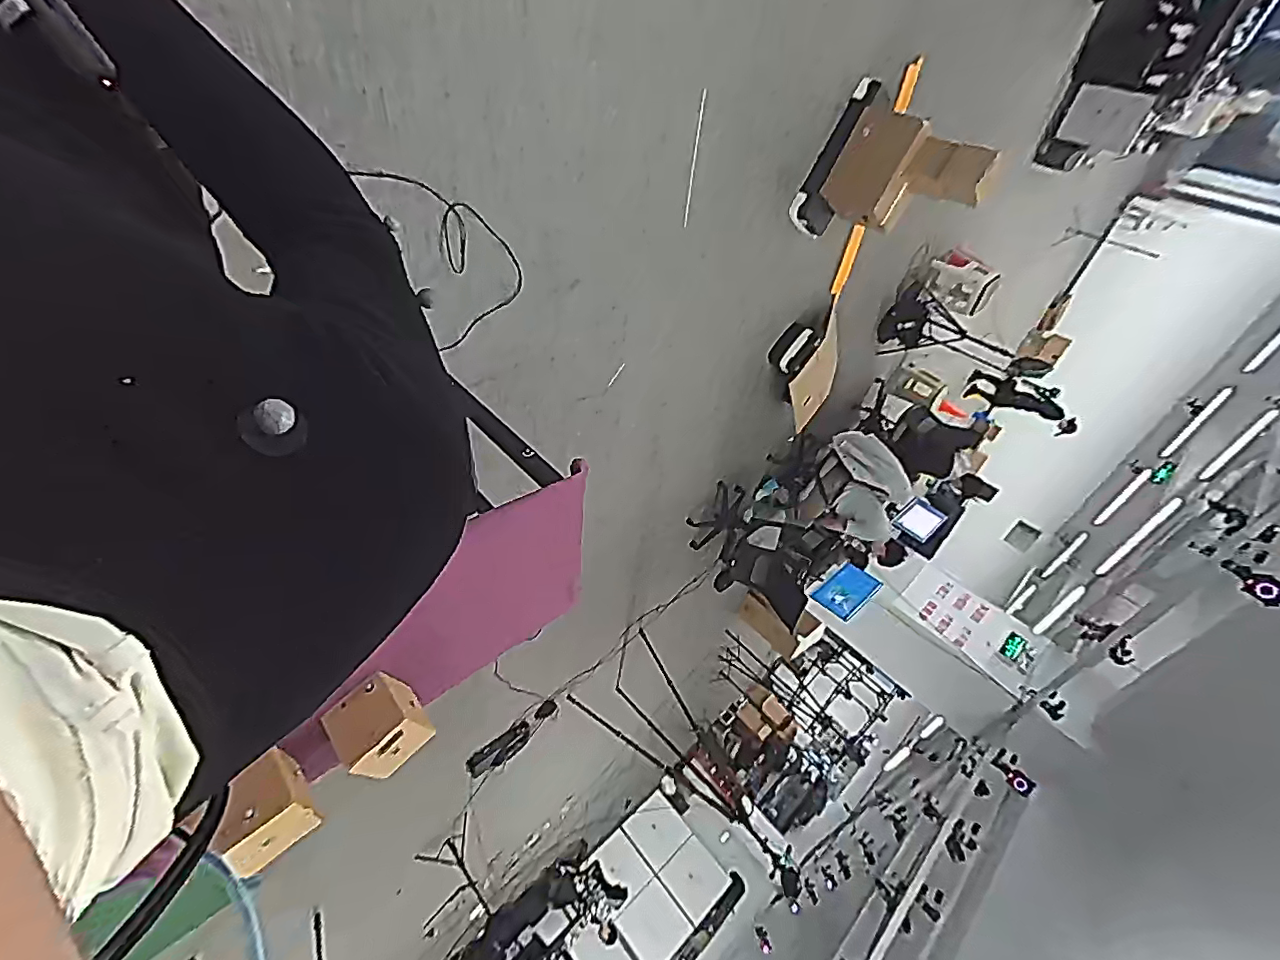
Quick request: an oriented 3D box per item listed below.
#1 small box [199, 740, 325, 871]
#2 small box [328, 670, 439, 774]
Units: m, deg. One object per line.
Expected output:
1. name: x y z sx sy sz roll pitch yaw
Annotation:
1. small box: -0.879 0.751 1.254 0.179 0.176 0.168 -33 146 -29
2. small box: -0.662 0.621 1.397 0.168 0.176 0.179 -40 149 -17
